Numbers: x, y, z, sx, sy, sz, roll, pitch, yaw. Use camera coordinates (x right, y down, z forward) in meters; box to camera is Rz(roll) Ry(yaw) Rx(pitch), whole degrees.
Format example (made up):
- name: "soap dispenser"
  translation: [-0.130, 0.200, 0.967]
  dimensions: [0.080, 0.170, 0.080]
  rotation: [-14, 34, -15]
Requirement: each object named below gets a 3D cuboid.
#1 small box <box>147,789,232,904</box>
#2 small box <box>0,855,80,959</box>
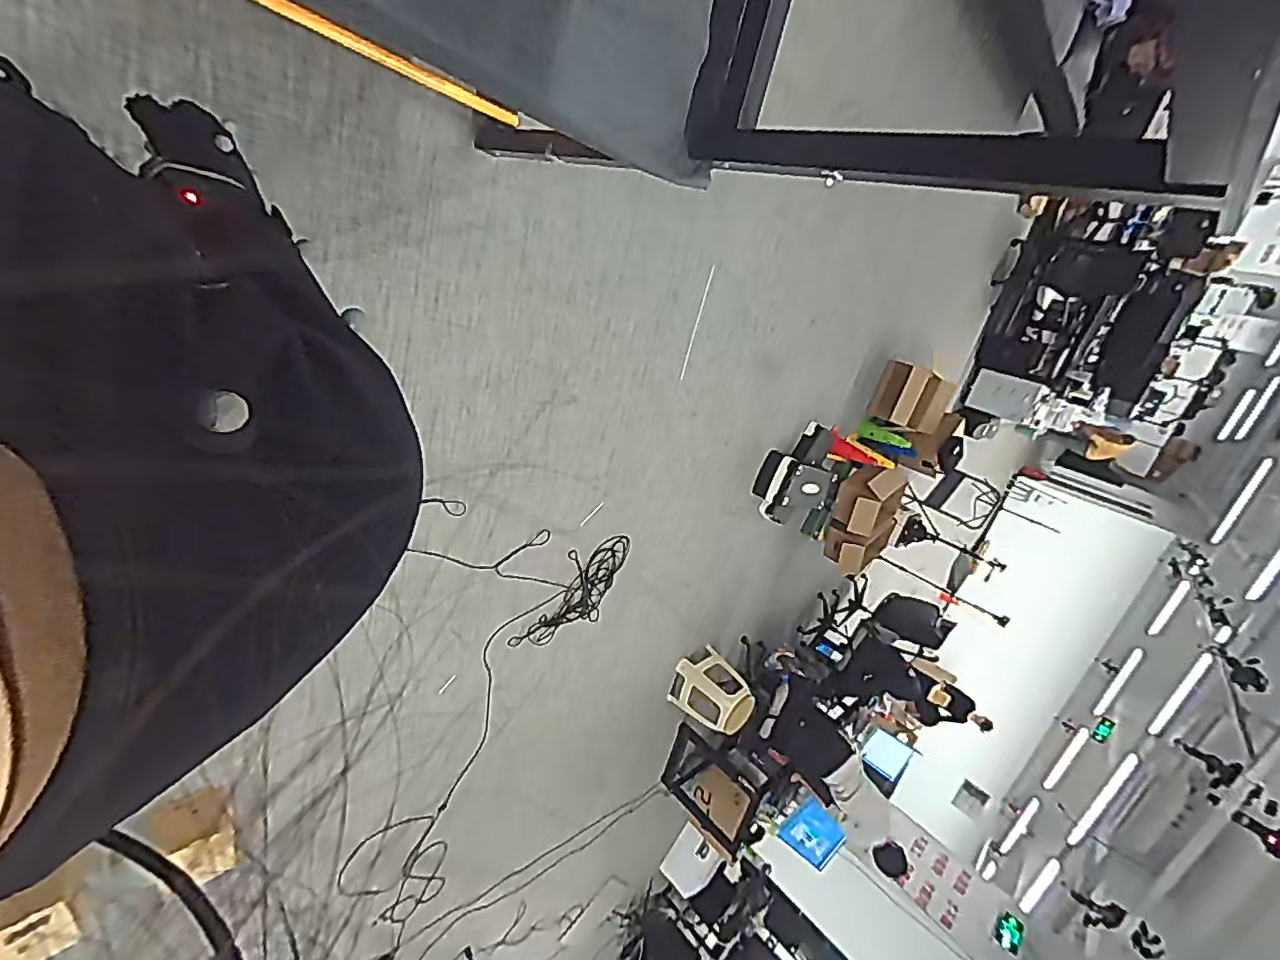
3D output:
- name: "small box"
  translation: [-1.287, 1.038, 1.547]
  dimensions: [0.168, 0.176, 0.179]
  rotation: [-9, 119, -46]
- name: "small box"
  translation: [-1.506, 1.065, 1.318]
  dimensions: [0.168, 0.176, 0.179]
  rotation: [-13, 124, -43]
